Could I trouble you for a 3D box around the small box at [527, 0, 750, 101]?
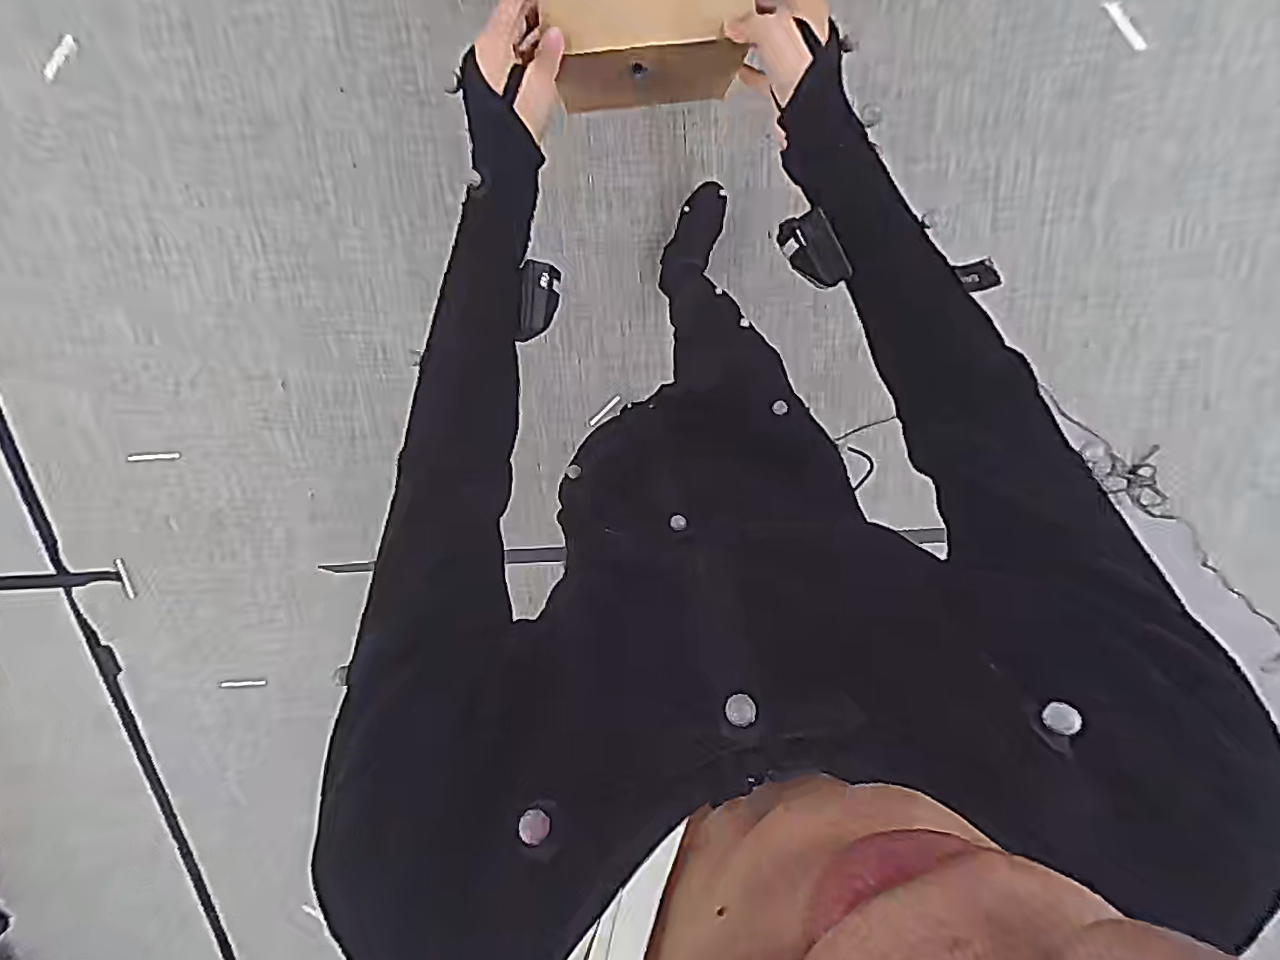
[{"bbox_3d":[-0.005,-0.456,0.475,0.179,0.176,0.168,-4,112,0],"label":"small box"}]
